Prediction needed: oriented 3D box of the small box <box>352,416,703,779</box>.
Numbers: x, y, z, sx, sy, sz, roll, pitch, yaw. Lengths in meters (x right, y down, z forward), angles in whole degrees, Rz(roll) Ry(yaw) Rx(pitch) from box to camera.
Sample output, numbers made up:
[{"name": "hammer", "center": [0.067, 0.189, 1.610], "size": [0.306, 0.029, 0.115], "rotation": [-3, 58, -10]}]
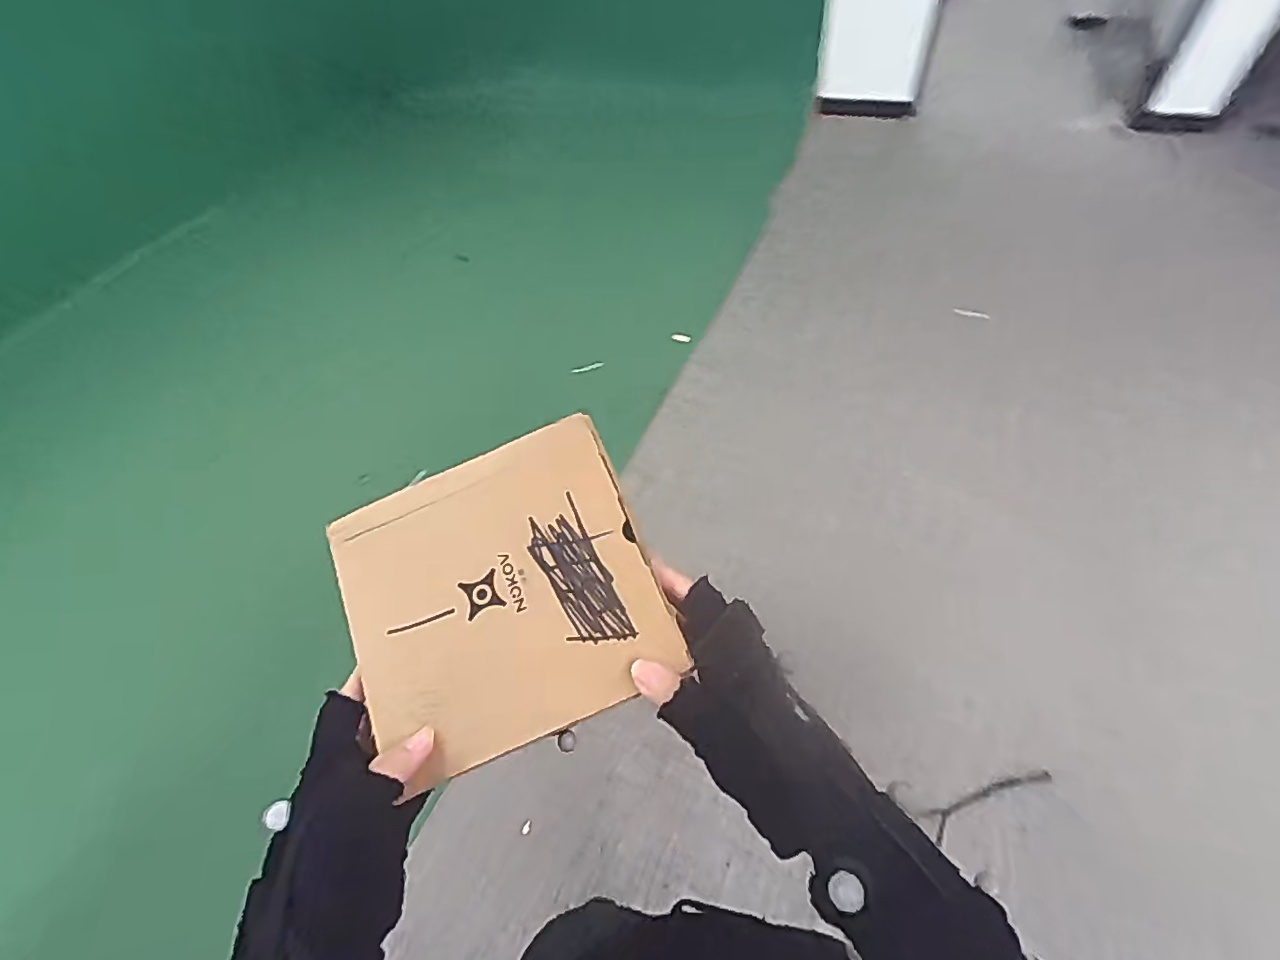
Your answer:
[{"name": "small box", "center": [-0.066, 0.083, 0.393], "size": [0.179, 0.176, 0.168], "rotation": [-22, 71, -1]}]
